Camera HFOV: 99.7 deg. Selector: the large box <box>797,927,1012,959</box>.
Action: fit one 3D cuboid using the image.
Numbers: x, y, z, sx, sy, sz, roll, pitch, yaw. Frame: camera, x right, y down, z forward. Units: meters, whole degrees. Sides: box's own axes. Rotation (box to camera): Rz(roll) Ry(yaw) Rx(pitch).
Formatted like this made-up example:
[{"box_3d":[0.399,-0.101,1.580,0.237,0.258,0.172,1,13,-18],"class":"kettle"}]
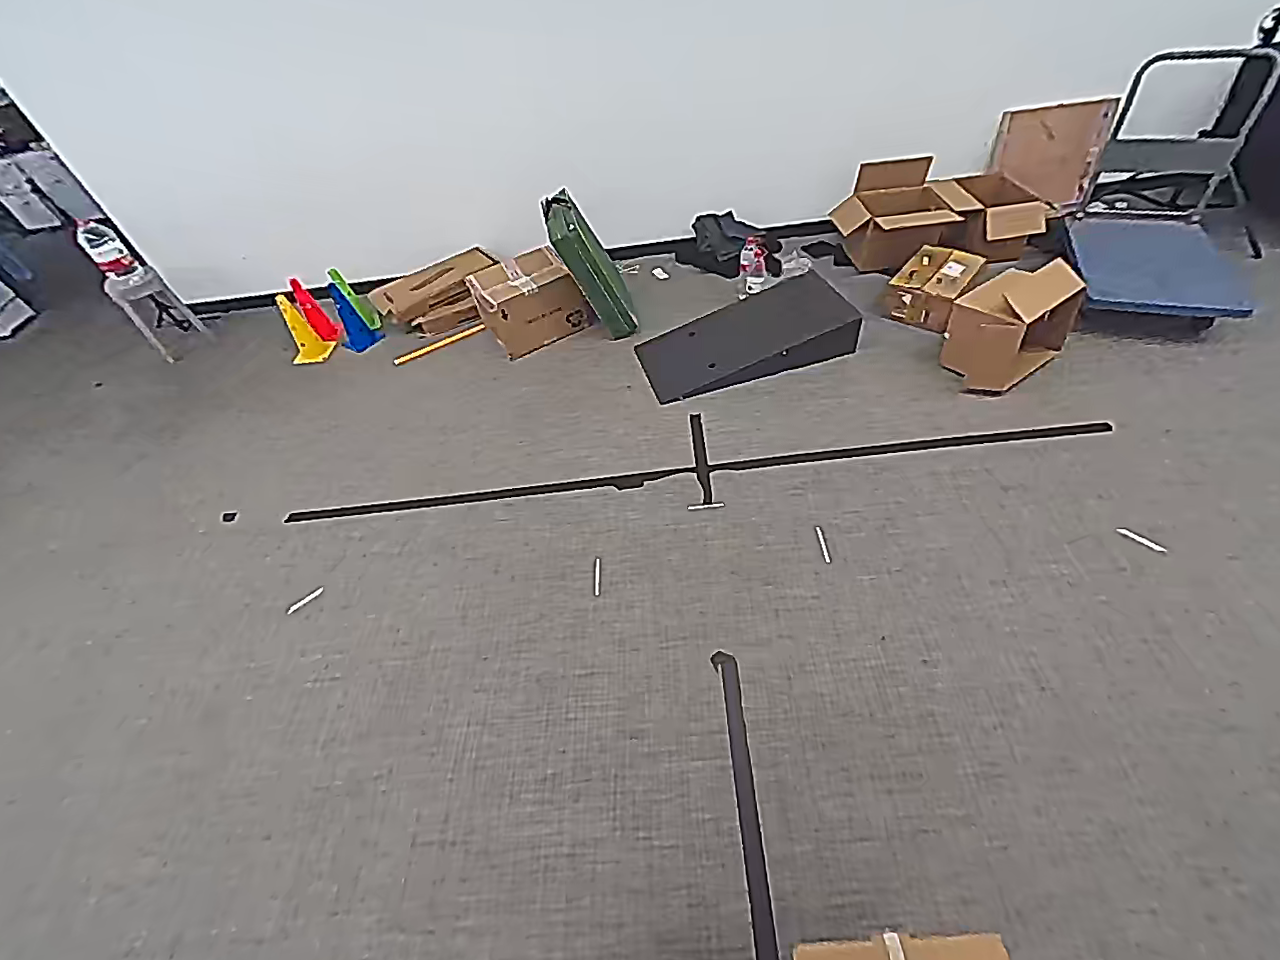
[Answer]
[{"box_3d":[0.440,0.951,0.820,0.320,0.320,0.408,-11,49,9],"class":"large box"}]
